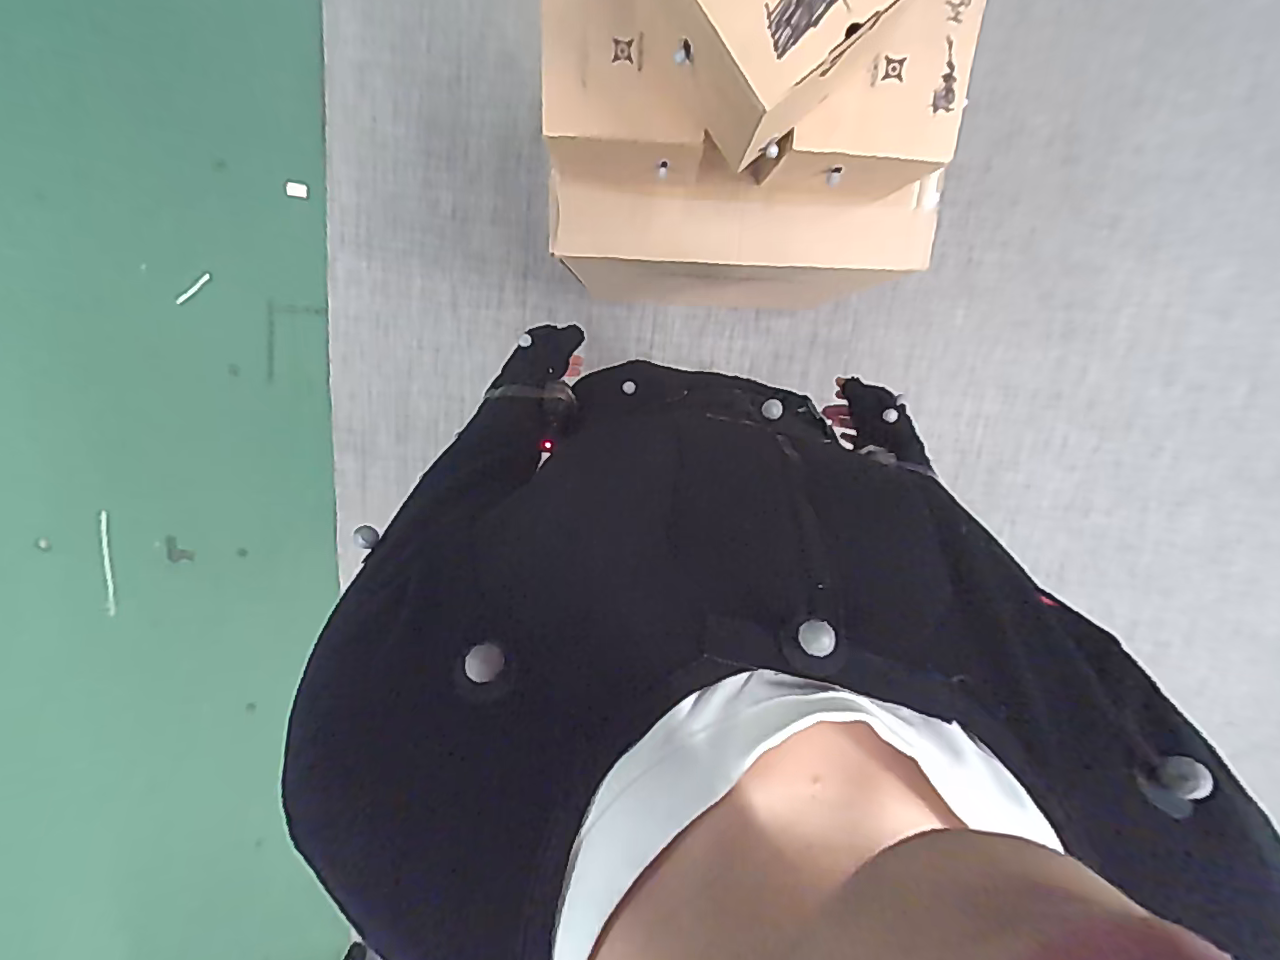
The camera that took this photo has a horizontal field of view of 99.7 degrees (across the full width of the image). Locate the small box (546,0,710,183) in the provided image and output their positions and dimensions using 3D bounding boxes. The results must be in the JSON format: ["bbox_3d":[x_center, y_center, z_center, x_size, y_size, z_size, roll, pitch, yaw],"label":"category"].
[{"bbox_3d":[-0.009,-0.463,0.634,0.179,0.176,0.168,2,104,1],"label":"small box"}]

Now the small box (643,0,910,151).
[{"bbox_3d":[0.115,-0.425,0.472,0.168,0.176,0.179,-36,101,10],"label":"small box"}]

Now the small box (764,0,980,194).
[{"bbox_3d":[0.251,-0.448,0.634,0.179,0.176,0.168,5,106,1],"label":"small box"}]
